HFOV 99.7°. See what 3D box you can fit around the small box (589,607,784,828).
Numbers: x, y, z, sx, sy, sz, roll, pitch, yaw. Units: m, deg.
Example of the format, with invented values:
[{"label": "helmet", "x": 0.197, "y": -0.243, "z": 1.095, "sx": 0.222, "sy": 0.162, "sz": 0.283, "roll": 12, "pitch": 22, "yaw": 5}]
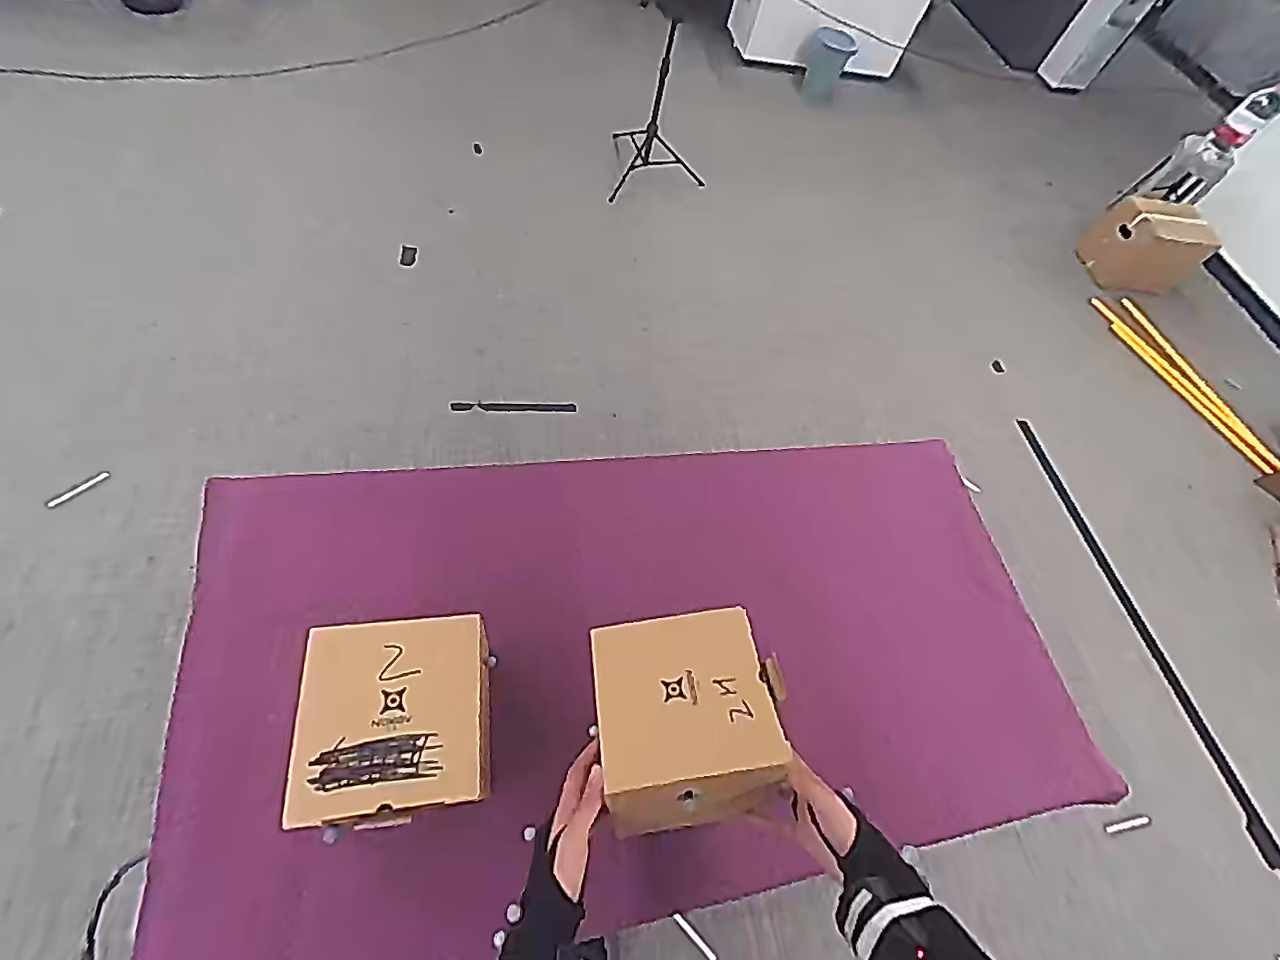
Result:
[{"label": "small box", "x": 0.043, "y": 0.266, "z": 0.603, "sx": 0.179, "sy": 0.176, "sz": 0.168, "roll": -7, "pitch": 46, "yaw": -4}]
